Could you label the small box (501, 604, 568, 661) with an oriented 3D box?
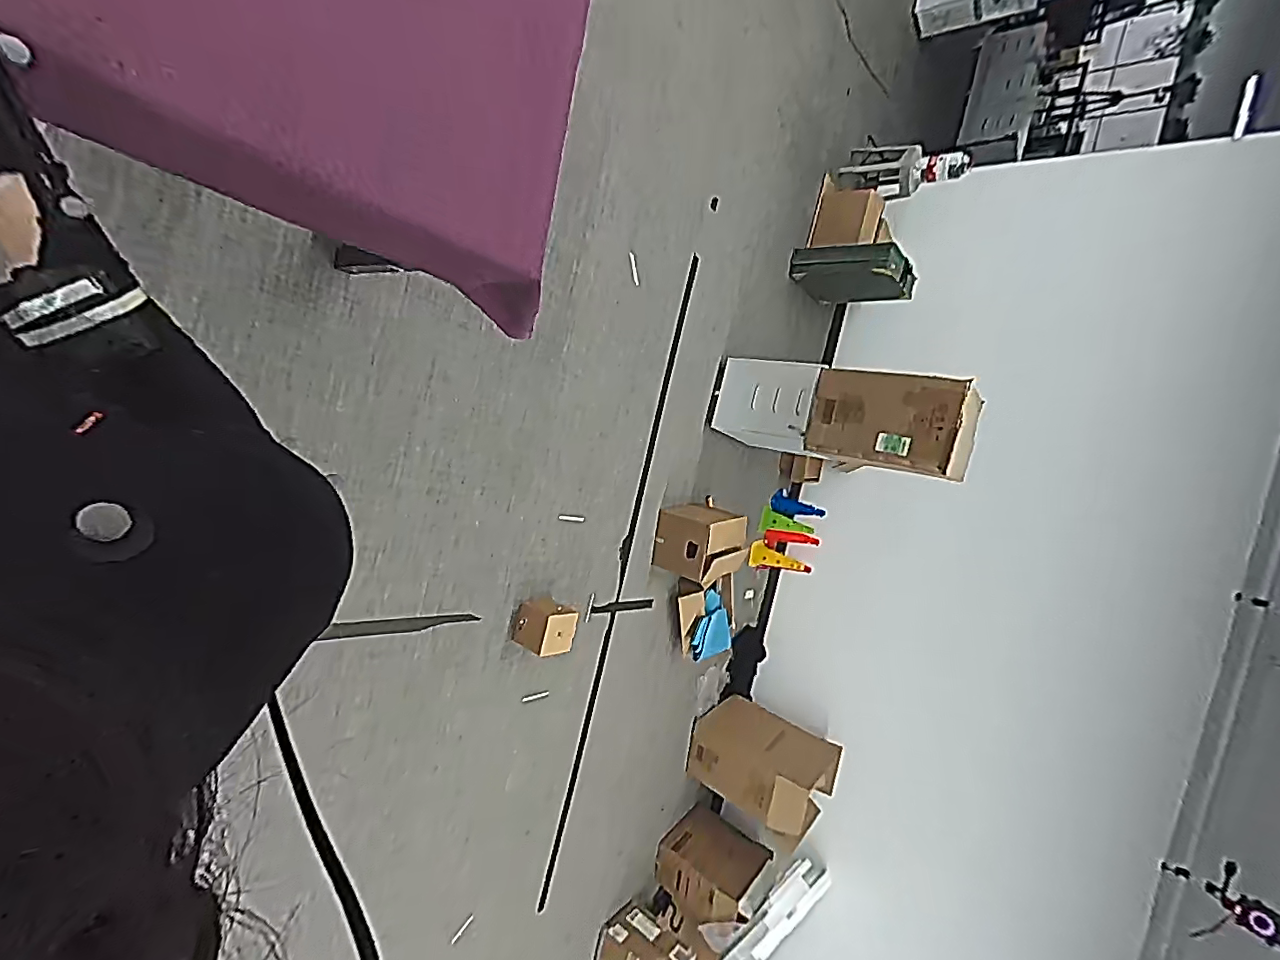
[{"bbox_3d":[-0.425,0.605,2.169,0.179,0.176,0.168,13,90,-54],"label":"small box"}]
